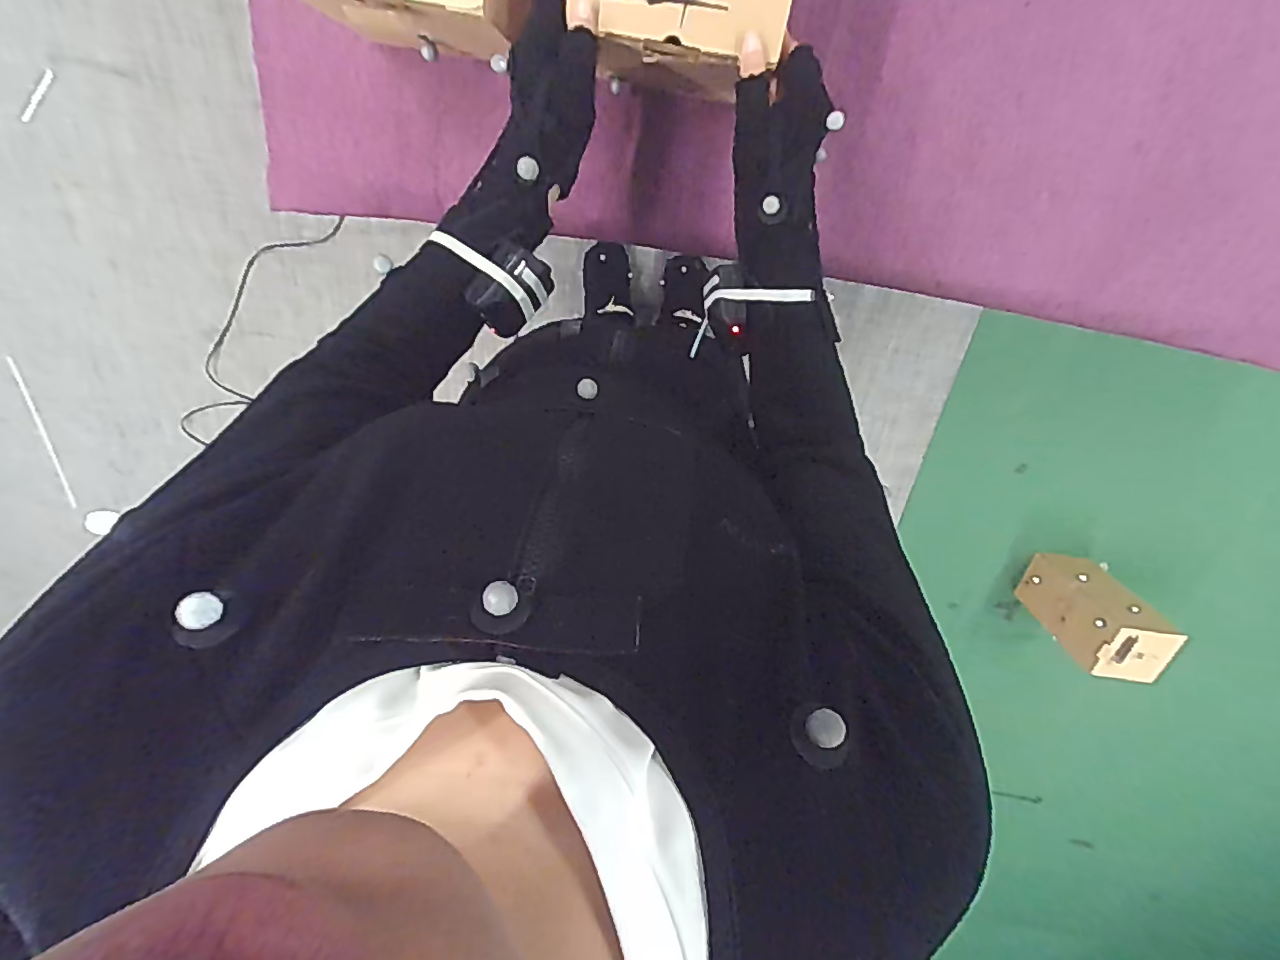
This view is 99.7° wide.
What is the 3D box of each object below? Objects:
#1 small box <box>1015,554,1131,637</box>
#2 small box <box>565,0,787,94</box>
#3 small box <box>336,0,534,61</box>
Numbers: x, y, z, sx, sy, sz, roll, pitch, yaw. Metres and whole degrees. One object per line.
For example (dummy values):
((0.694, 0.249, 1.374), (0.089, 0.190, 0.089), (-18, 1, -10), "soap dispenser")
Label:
((1.273, 0.336, 1.604), (0.179, 0.176, 0.168), (8, 117, -1), "small box")
((0.041, -0.444, 0.443), (0.168, 0.176, 0.179), (9, 116, -2), "small box")
((-0.179, -0.476, 0.434), (0.168, 0.176, 0.179), (9, 117, -2), "small box")
